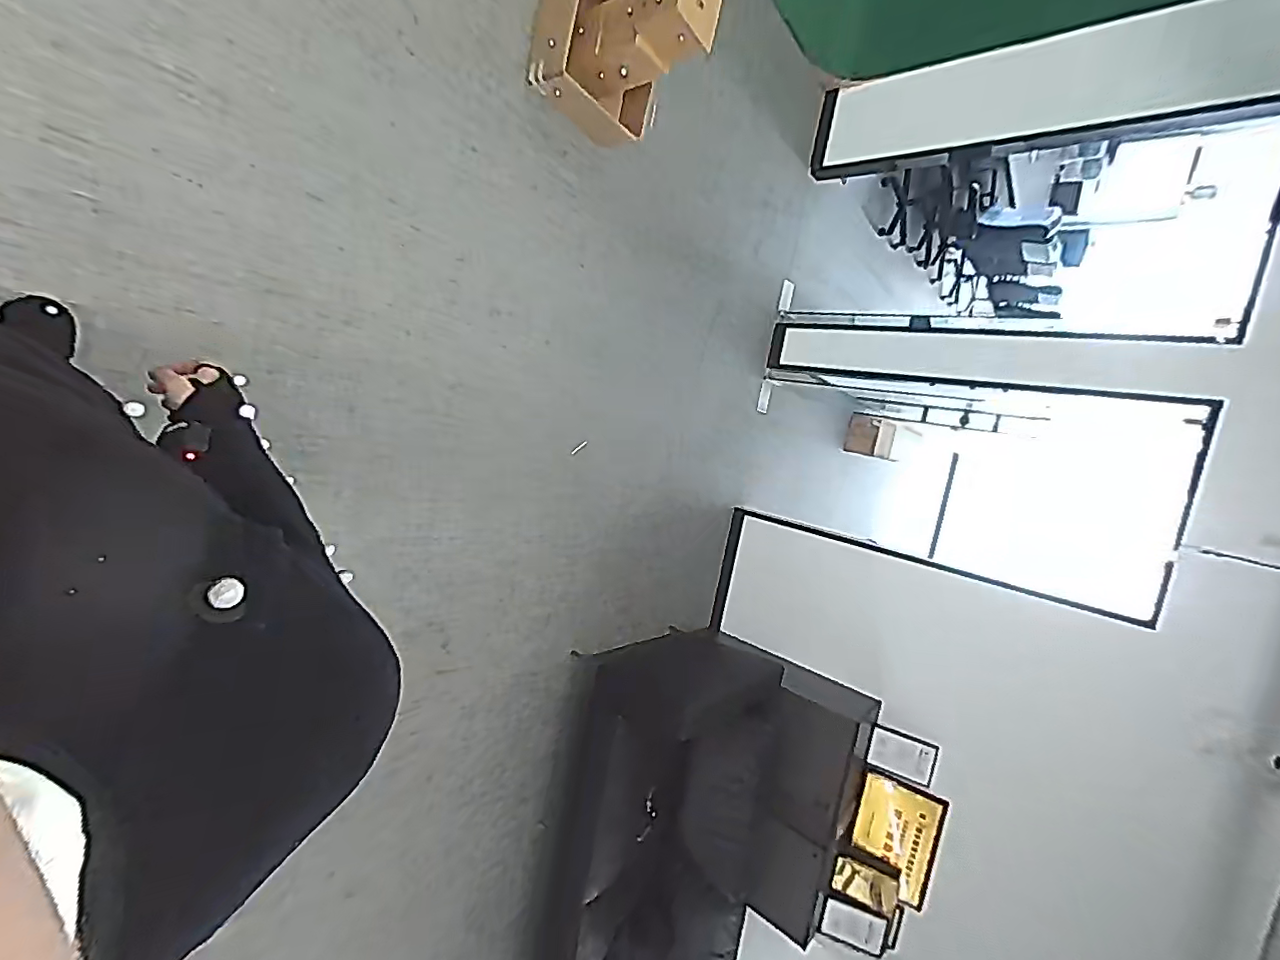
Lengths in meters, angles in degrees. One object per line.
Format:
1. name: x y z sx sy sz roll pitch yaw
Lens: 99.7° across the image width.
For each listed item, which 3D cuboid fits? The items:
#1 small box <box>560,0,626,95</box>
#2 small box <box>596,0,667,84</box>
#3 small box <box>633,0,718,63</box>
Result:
1. small box: -0.144 -1.444 1.820 0.179 0.176 0.168 10 93 -52
2. small box: -0.019 -1.411 1.717 0.168 0.176 0.179 4 99 -51
3. small box: 0.103 -1.395 1.610 0.179 0.176 0.168 12 93 -52
